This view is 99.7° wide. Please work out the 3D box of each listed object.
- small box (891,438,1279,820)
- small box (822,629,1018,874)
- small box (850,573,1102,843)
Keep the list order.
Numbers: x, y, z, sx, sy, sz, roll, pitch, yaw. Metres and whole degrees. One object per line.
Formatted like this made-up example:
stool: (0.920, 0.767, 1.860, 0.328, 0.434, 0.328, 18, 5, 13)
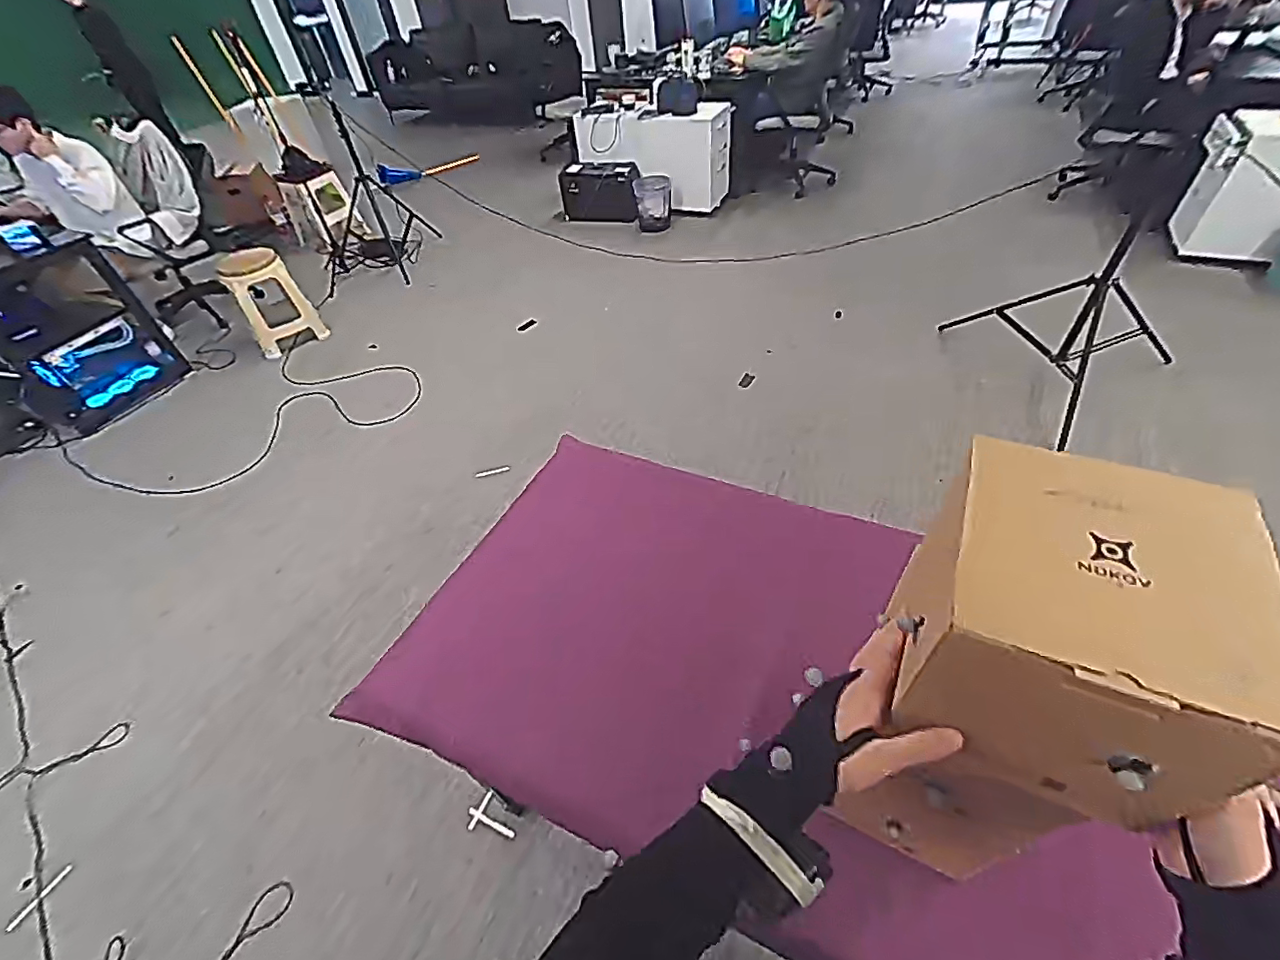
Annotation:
small box: (0.292, 0.102, 0.383, 0.168, 0.176, 0.179, 16, 49, 20)
small box: (0.322, 0.316, 0.629, 0.168, 0.176, 0.179, 19, 51, 23)
small box: (0.313, 0.200, 0.513, 0.168, 0.176, 0.179, 19, 52, 23)
